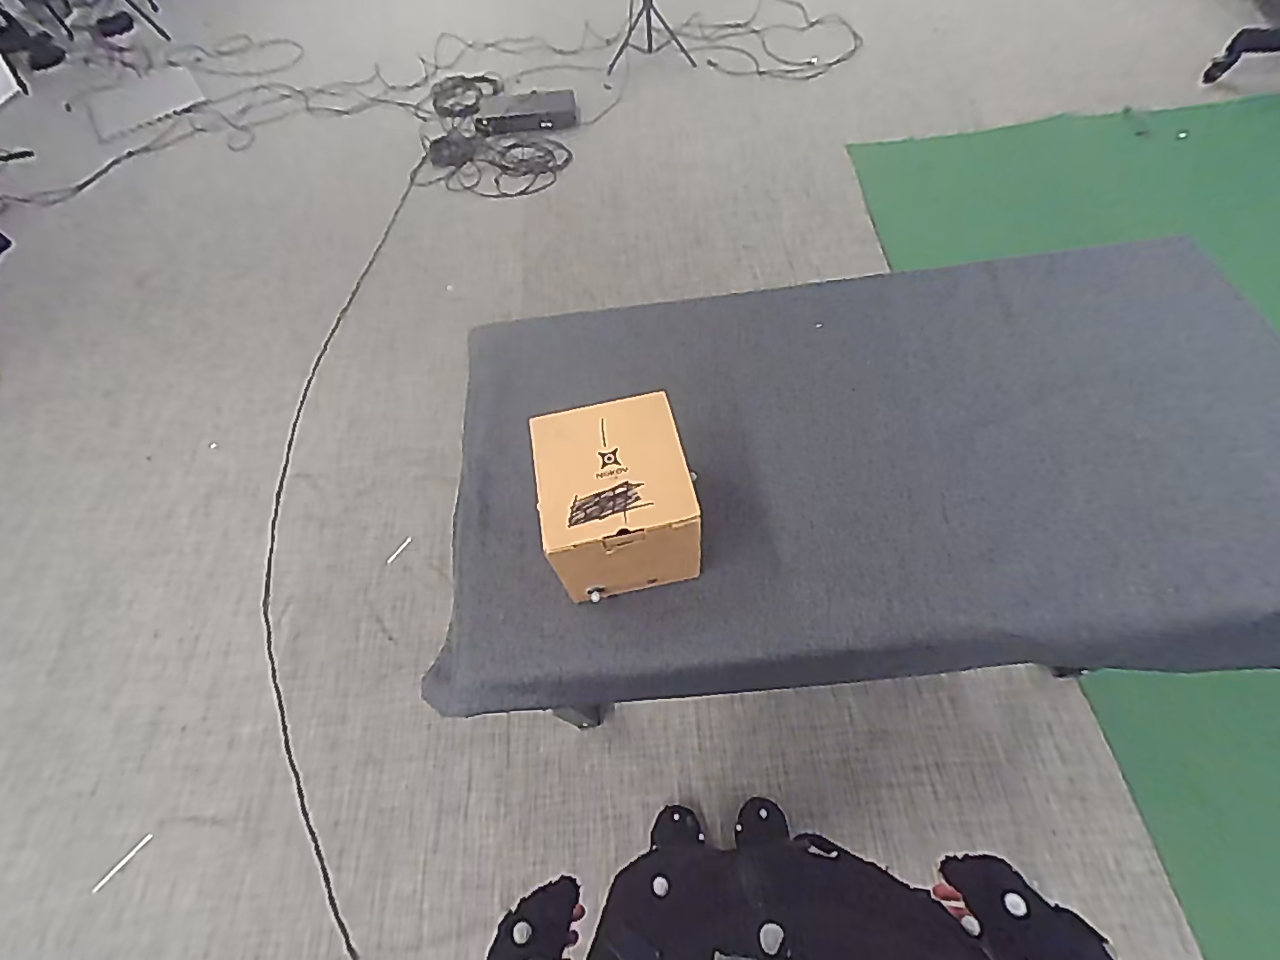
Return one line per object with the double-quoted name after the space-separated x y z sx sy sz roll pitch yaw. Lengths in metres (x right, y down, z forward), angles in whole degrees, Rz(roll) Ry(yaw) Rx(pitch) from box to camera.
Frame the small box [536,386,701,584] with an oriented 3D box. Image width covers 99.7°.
-0.021 0.017 0.667 0.168 0.176 0.179 -12 59 -1 "small box"
